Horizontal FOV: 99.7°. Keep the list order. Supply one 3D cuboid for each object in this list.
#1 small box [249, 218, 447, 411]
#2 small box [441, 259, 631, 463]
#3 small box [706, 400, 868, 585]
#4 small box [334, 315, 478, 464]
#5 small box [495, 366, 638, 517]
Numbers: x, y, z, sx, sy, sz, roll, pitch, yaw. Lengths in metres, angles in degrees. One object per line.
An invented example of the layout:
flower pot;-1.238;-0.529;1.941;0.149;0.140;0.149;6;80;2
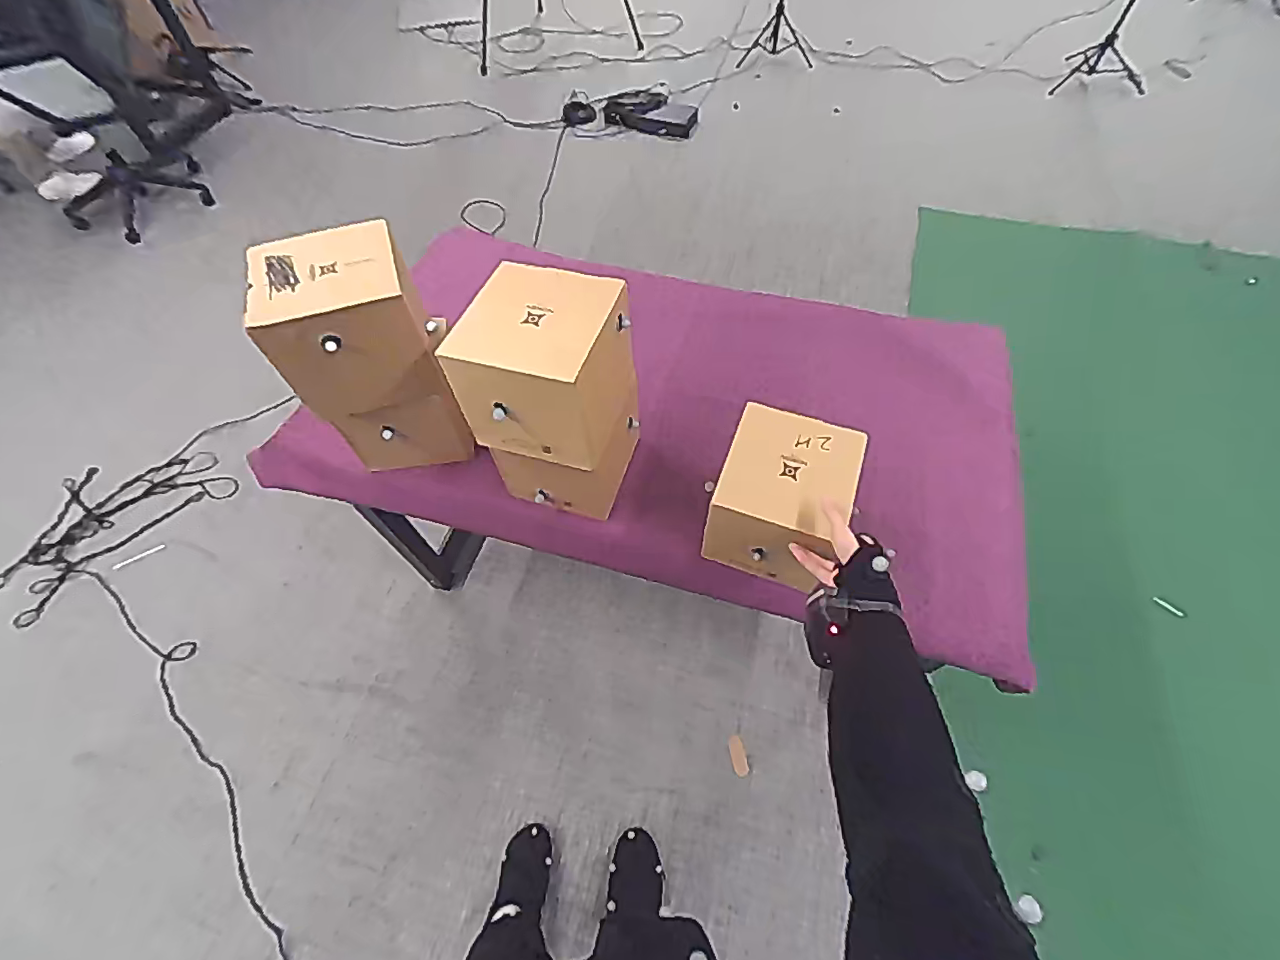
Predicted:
small box;-0.383;-0.216;0.729;0.179;0.176;0.168;-17;59;-11
small box;-0.113;-0.145;0.682;0.168;0.176;0.179;14;57;11
small box;0.196;0.024;0.757;0.168;0.176;0.179;18;60;12
small box;-0.373;-0.140;0.876;0.179;0.176;0.168;-7;58;-3
small box;-0.105;-0.071;0.827;0.168;0.176;0.179;14;59;11
